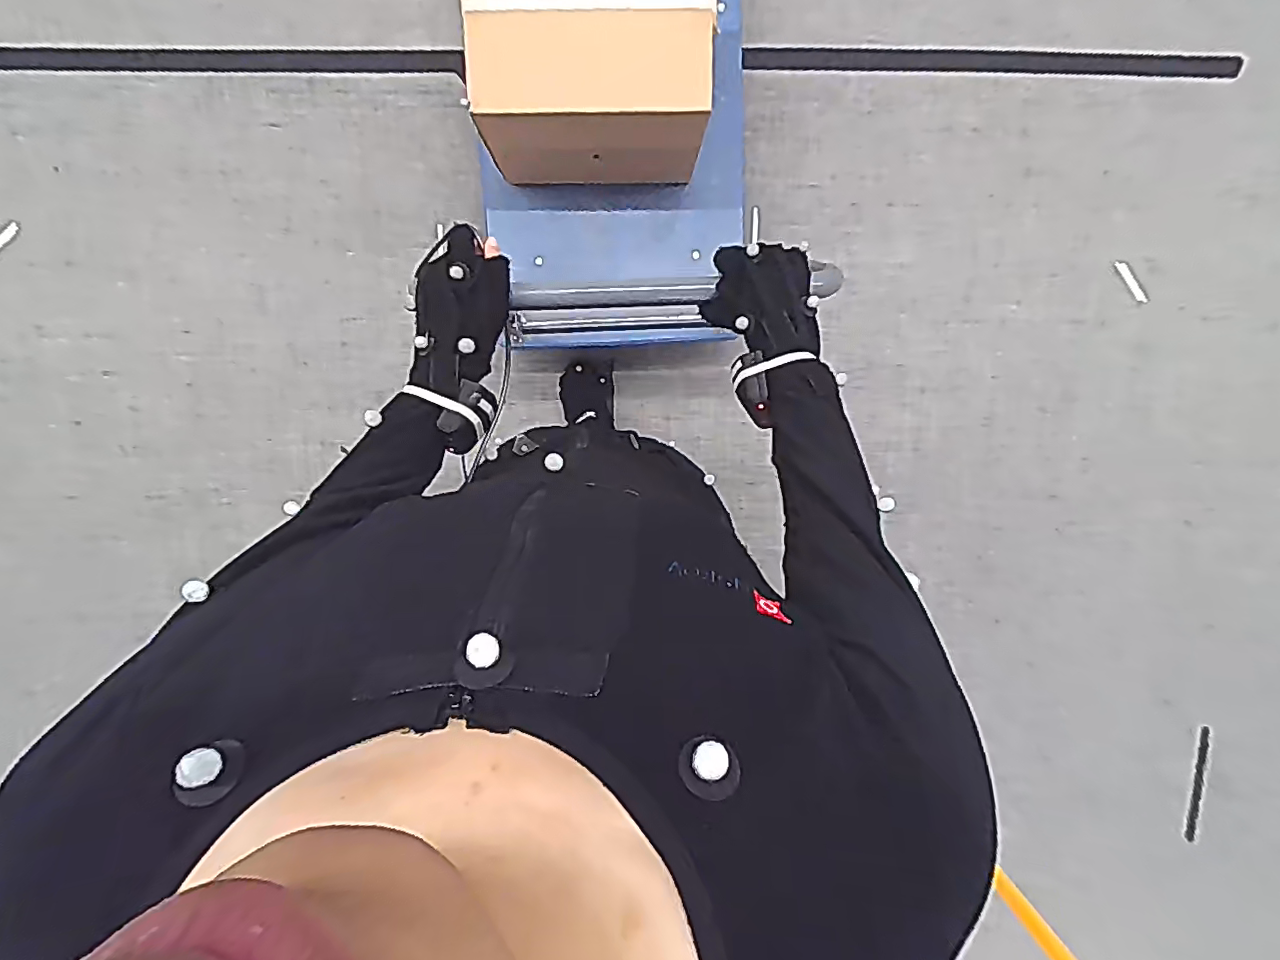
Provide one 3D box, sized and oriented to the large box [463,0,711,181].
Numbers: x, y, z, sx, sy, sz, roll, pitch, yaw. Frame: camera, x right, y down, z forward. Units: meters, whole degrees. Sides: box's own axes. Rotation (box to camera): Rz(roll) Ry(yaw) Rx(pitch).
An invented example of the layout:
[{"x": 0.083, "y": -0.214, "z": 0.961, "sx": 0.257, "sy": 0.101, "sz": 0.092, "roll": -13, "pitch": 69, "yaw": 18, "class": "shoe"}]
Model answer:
[{"x": -0.088, "y": -0.785, "z": 1.019, "sx": 0.408, "sy": 0.320, "sz": 0.320, "roll": -2, "pitch": 99, "yaw": -1, "class": "large box"}]
